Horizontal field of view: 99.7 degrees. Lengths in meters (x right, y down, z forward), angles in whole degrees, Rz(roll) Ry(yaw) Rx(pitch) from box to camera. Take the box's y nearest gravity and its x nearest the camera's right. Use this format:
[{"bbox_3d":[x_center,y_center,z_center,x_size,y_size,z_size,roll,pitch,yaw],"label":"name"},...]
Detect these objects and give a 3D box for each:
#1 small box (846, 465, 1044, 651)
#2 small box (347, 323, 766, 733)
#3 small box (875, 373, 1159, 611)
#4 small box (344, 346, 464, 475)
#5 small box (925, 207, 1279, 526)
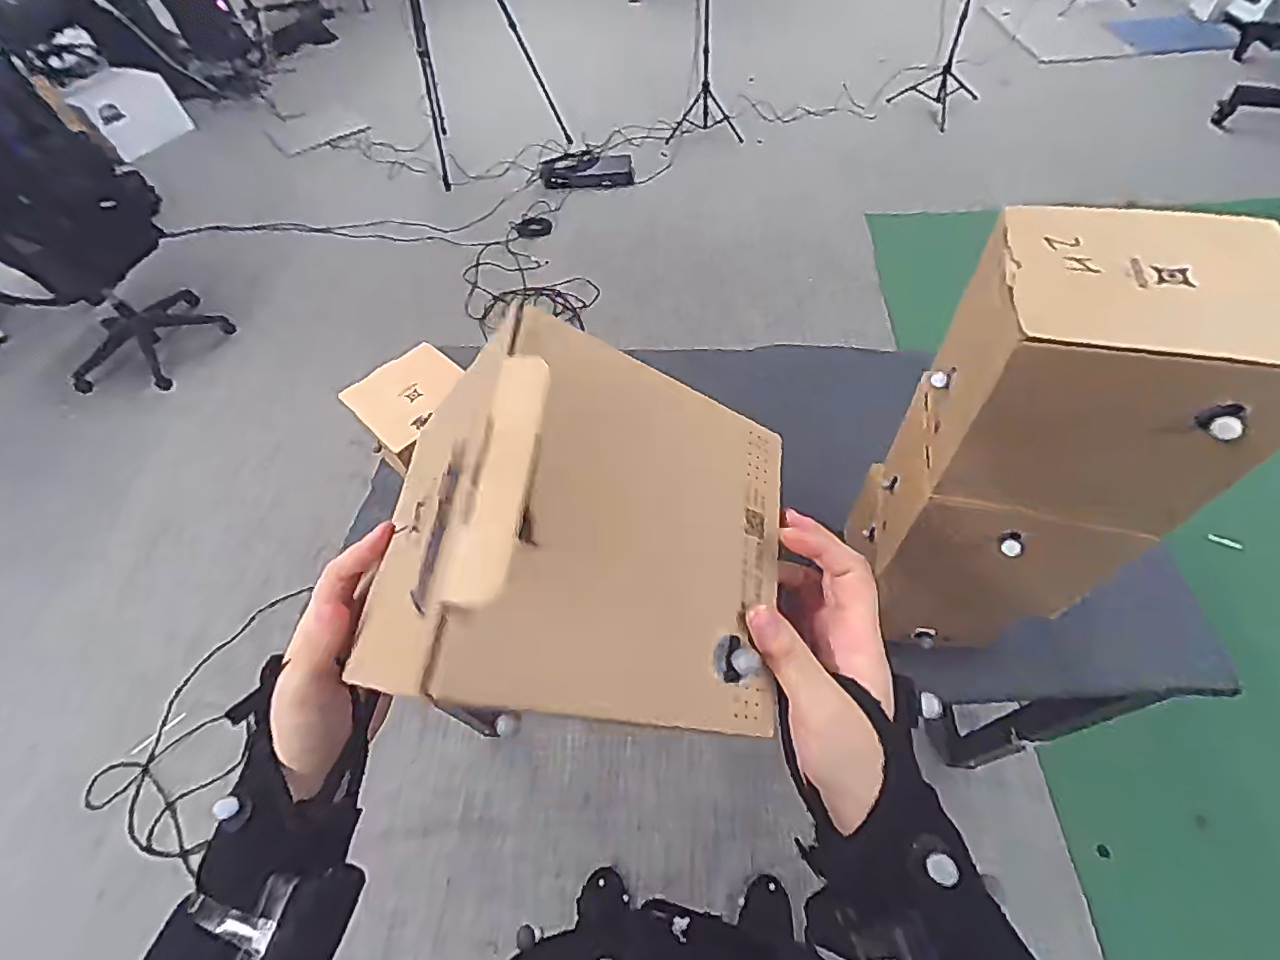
[{"bbox_3d":[0.372,0.100,0.690,0.168,0.176,0.179,1,54,8],"label":"small box"},{"bbox_3d":[-0.045,0.046,0.315,0.176,0.179,0.168,20,65,-31],"label":"small box"},{"bbox_3d":[0.356,0.016,0.552,0.179,0.176,0.168,10,55,14],"label":"small box"},{"bbox_3d":[-0.341,-0.084,0.898,0.179,0.176,0.168,37,66,27],"label":"small box"},{"bbox_3d":[0.344,-0.083,0.420,0.179,0.176,0.168,11,55,15],"label":"small box"}]
